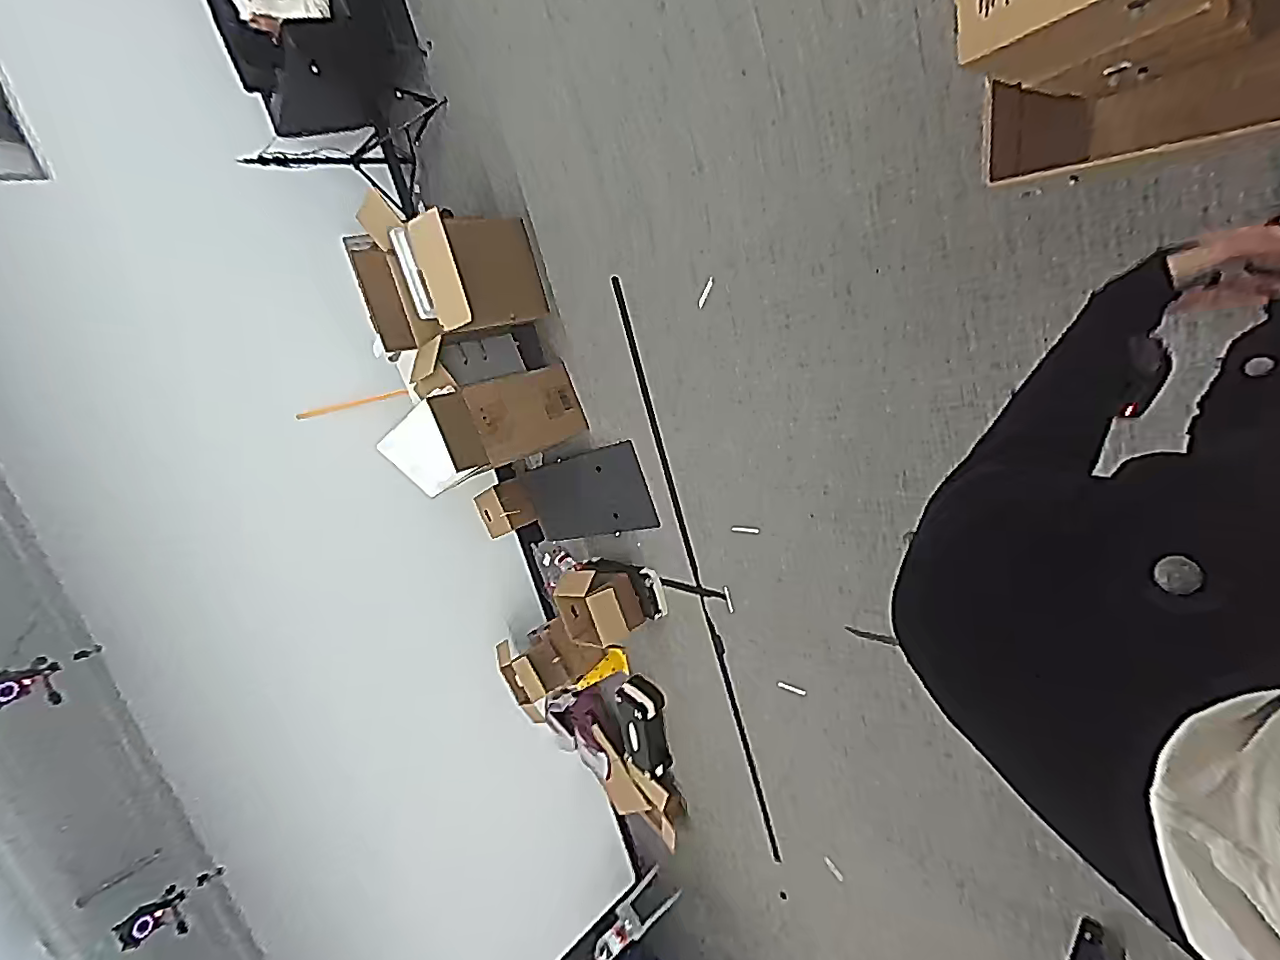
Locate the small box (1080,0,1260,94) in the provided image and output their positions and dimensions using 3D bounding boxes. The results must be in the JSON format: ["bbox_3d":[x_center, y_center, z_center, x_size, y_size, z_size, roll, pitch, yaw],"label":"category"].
[{"bbox_3d":[0.691,-0.643,0.719,0.179,0.176,0.168,9,117,49],"label":"small box"}]

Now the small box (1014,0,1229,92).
[{"bbox_3d":[0.562,-0.591,0.631,0.168,0.176,0.179,7,115,53],"label":"small box"}]
